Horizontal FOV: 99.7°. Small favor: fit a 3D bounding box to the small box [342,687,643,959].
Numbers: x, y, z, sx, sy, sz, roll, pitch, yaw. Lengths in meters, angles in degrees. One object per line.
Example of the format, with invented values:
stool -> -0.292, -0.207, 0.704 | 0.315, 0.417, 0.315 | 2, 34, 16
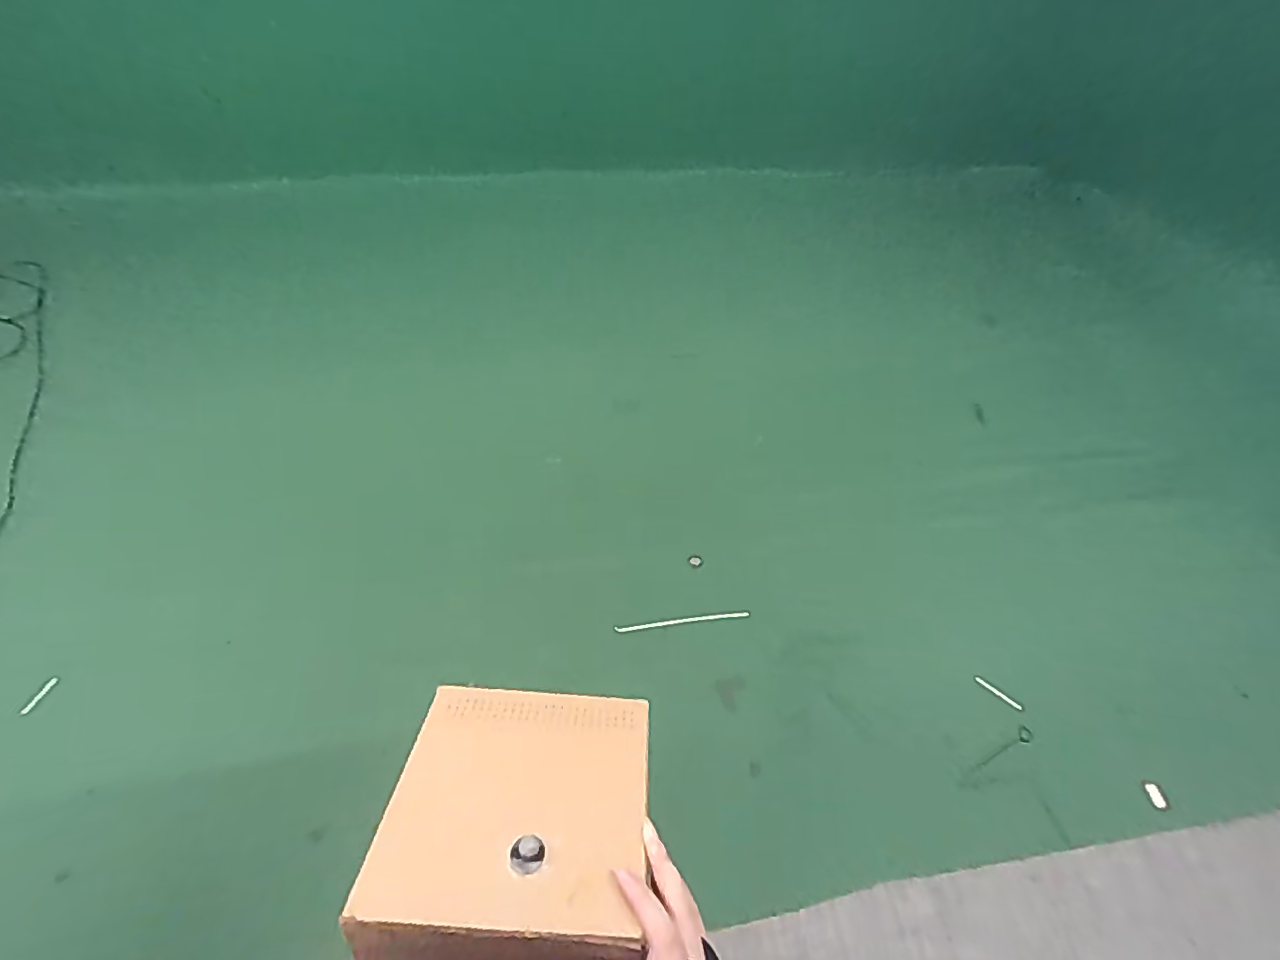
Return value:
small box -> -0.090, 0.285, 0.420 | 0.179, 0.168, 0.176 | 5, 28, 0
